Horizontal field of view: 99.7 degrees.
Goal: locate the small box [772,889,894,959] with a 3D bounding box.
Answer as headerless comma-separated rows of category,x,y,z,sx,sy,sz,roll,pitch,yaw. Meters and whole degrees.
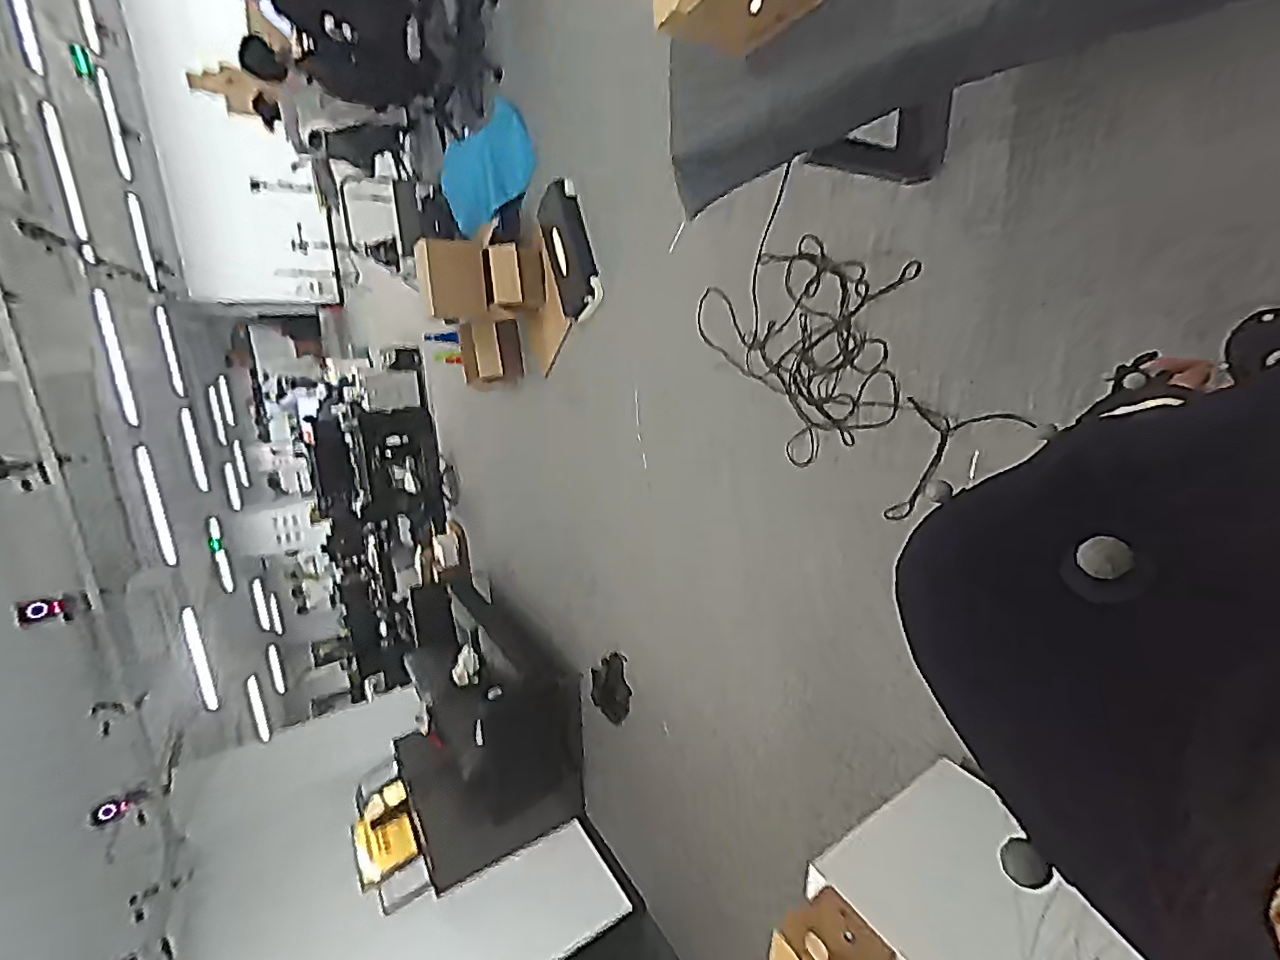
small box,0.383,0.983,1.076,0.168,0.176,0.179,24,120,53

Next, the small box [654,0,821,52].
small box,0.131,-0.705,0.708,0.168,0.176,0.179,12,108,55
